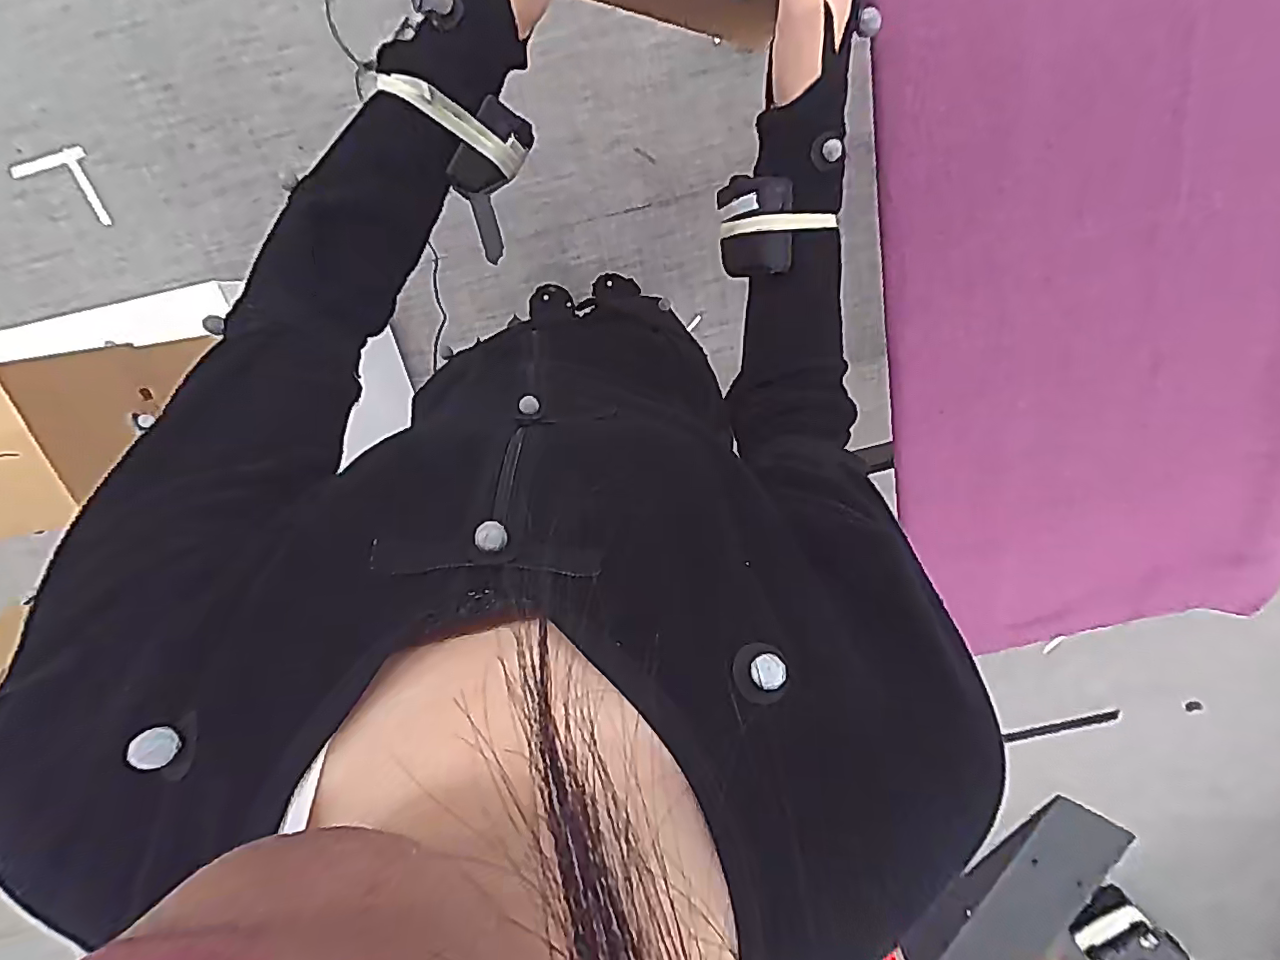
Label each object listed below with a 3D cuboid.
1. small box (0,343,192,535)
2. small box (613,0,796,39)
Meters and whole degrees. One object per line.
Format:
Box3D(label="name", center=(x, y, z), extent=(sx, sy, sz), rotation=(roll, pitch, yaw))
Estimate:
Box3D(label="small box", center=(-0.666, -0.047, 0.596), extent=(0.179, 0.176, 0.168), rotation=(-10, 112, 0))
Box3D(label="small box", center=(0.045, -0.420, 0.341), extent=(0.179, 0.176, 0.168), rotation=(12, 112, -7))
